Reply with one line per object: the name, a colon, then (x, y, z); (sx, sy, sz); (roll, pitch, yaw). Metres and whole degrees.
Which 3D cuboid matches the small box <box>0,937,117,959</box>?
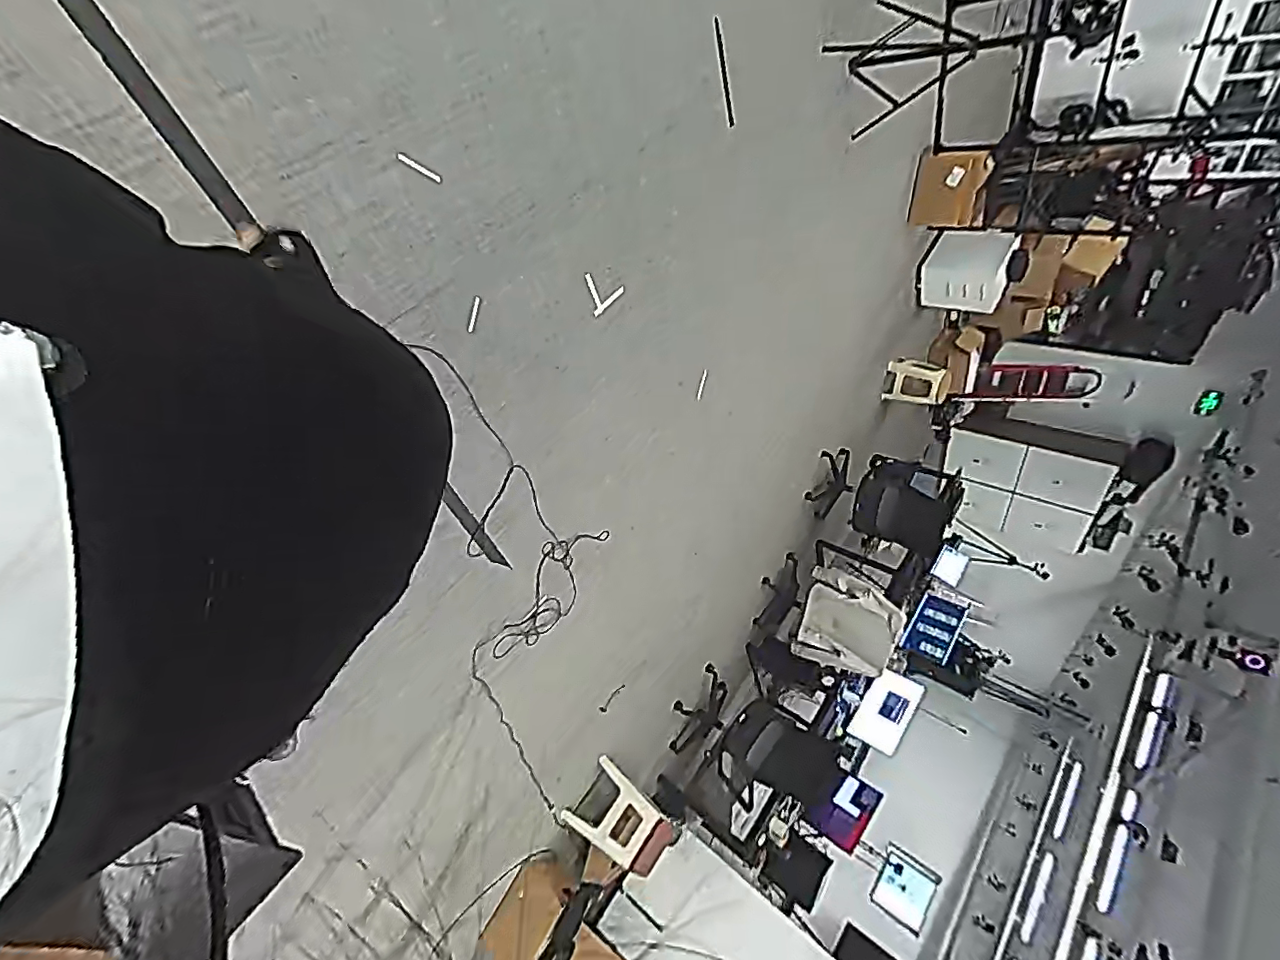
small box: (-0.742, 0.672, 0.617); (0.168, 0.176, 0.179); (-49, 139, -22)
